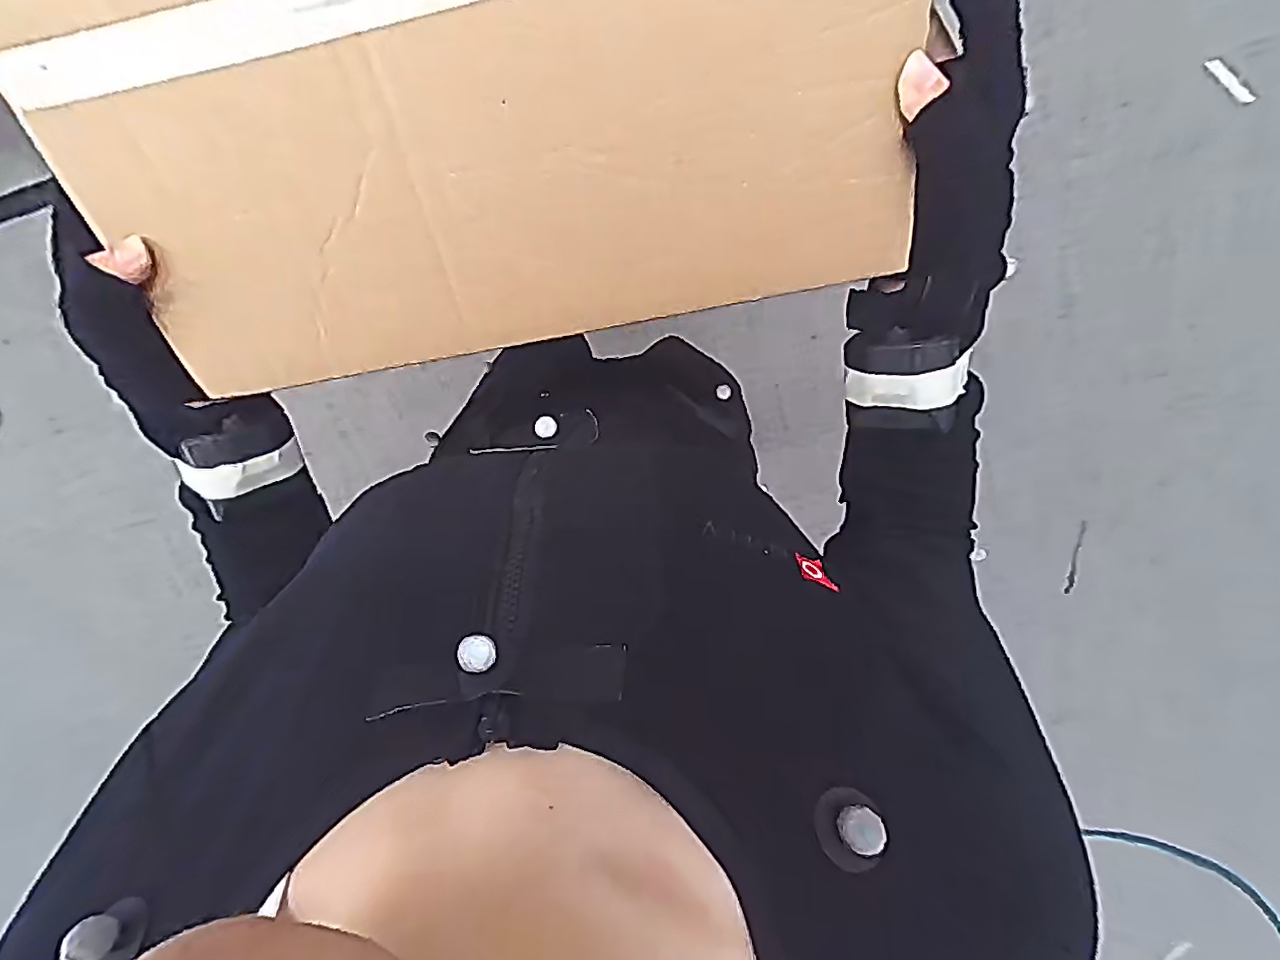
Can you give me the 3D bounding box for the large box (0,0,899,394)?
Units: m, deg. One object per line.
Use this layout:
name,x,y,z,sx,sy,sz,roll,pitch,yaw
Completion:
large box,-0.088,-0.293,0.357,0.408,0.320,0.320,-9,122,6
